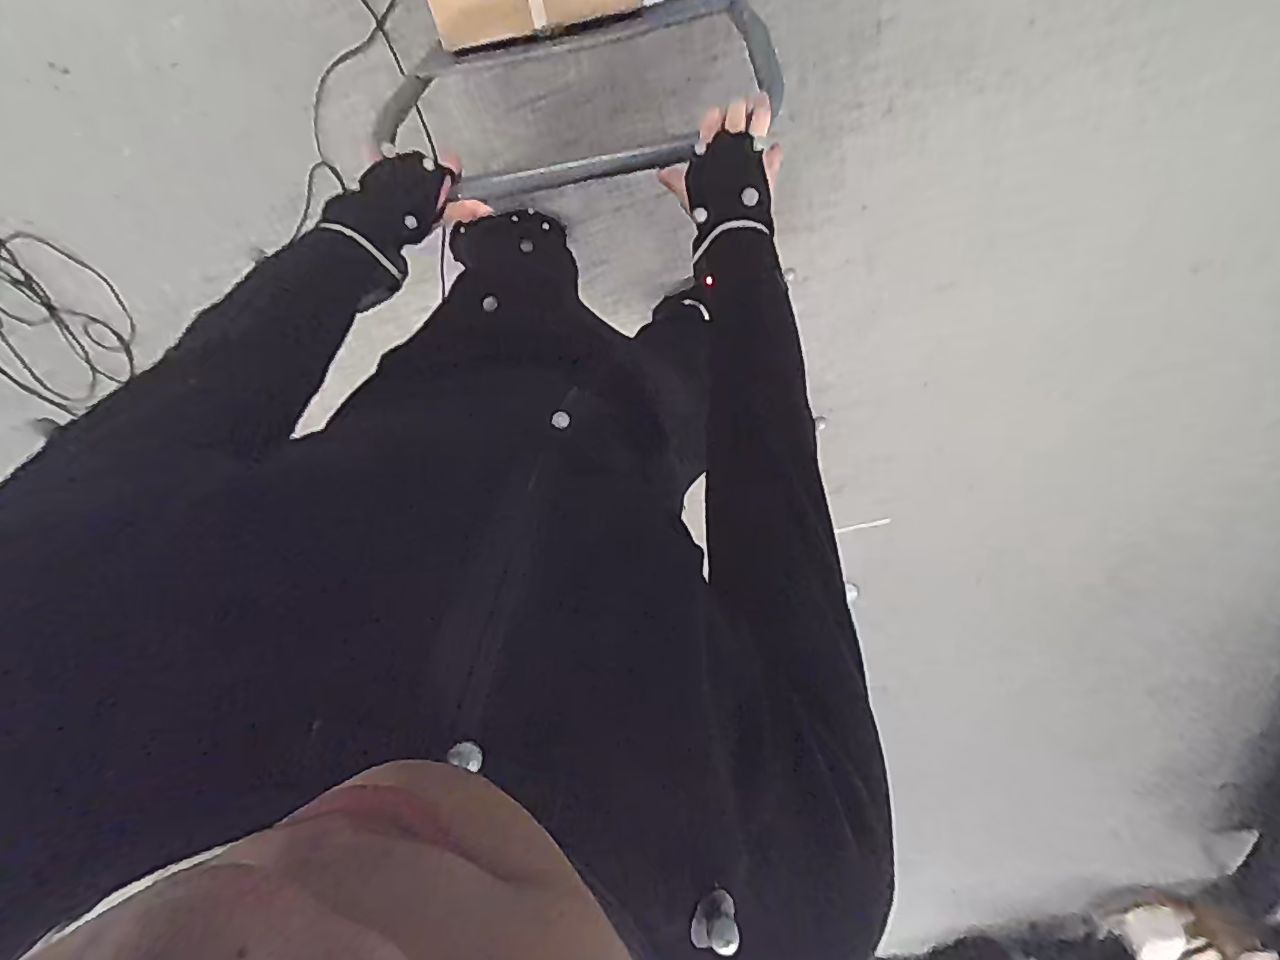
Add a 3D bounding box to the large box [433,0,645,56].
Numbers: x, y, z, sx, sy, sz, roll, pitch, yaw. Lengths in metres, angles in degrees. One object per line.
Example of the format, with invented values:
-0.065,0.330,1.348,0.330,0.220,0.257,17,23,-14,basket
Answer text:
-0.178,-0.919,0.787,0.320,0.320,0.408,-8,135,6,large box
